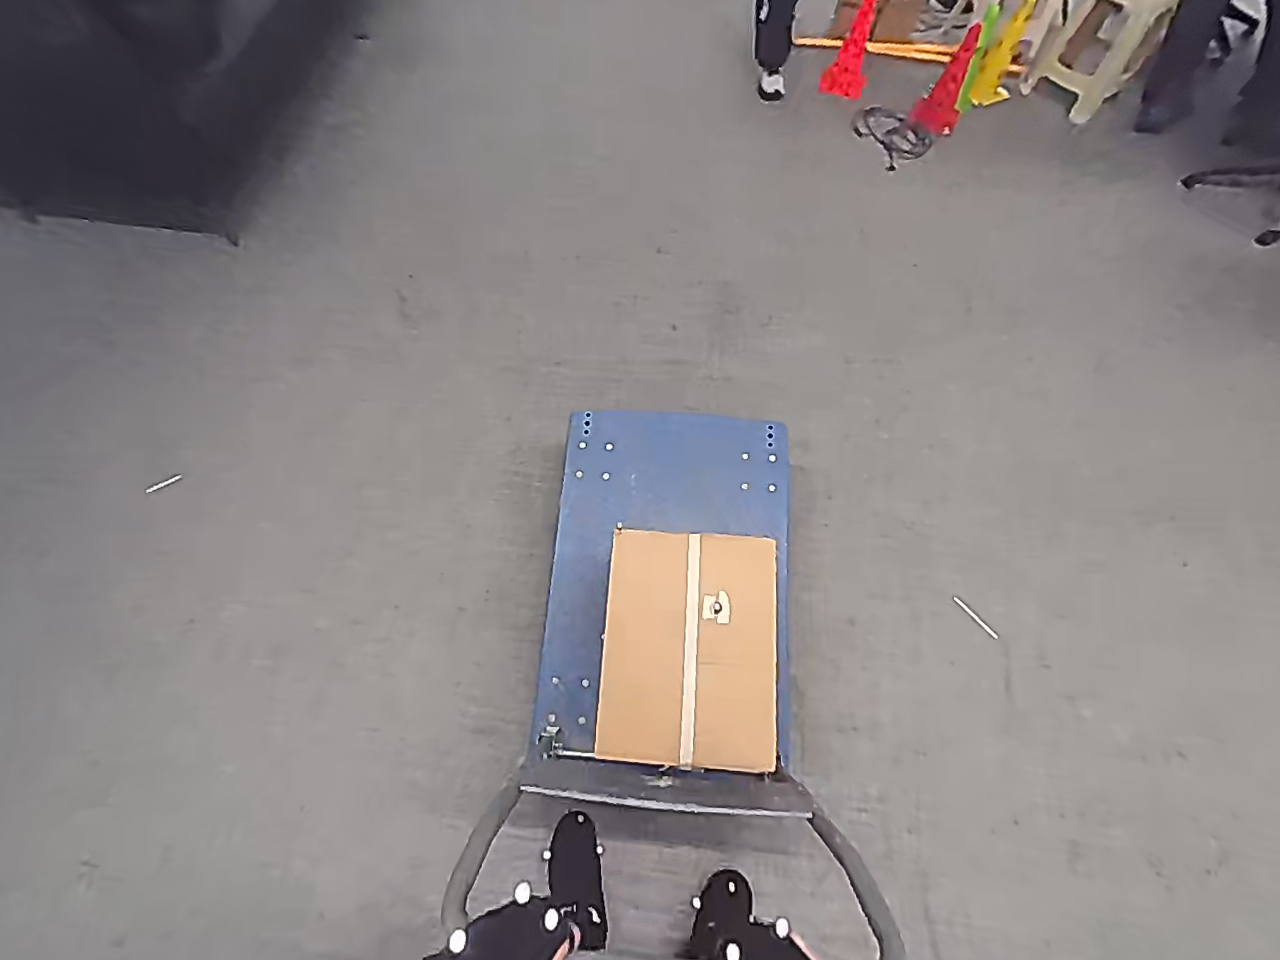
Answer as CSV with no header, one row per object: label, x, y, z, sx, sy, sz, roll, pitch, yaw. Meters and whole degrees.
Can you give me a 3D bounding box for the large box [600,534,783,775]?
large box,0.099,0.344,1.107,0.320,0.320,0.408,4,73,1
